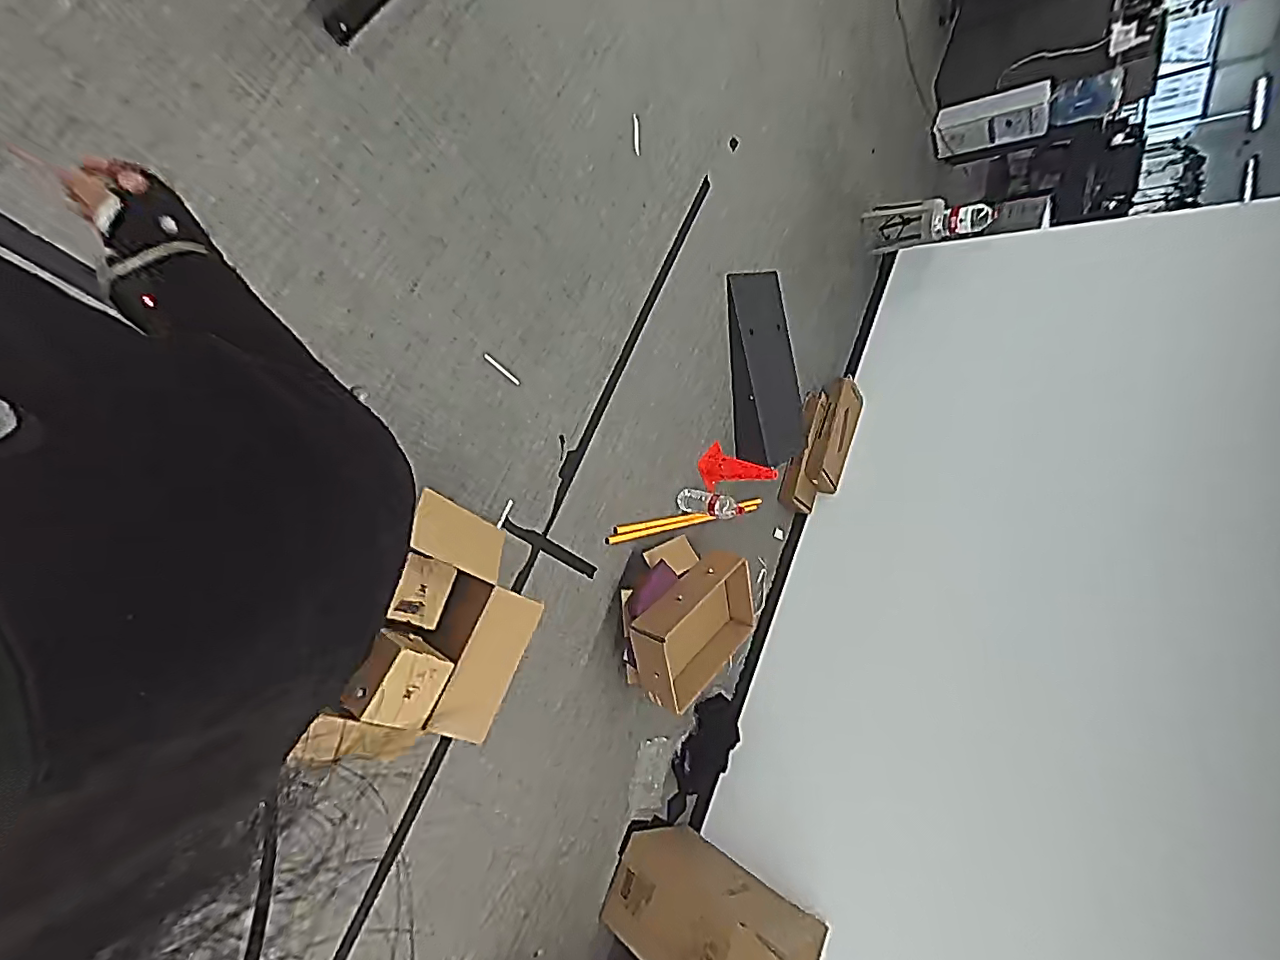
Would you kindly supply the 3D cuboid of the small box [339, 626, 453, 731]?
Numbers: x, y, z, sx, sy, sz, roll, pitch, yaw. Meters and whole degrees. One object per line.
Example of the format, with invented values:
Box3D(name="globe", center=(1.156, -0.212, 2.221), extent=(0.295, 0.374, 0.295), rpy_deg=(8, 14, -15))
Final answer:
Box3D(name="small box", center=(-0.604, 0.485, 1.329), extent=(0.168, 0.176, 0.179), rpy_deg=(43, 66, -46))
